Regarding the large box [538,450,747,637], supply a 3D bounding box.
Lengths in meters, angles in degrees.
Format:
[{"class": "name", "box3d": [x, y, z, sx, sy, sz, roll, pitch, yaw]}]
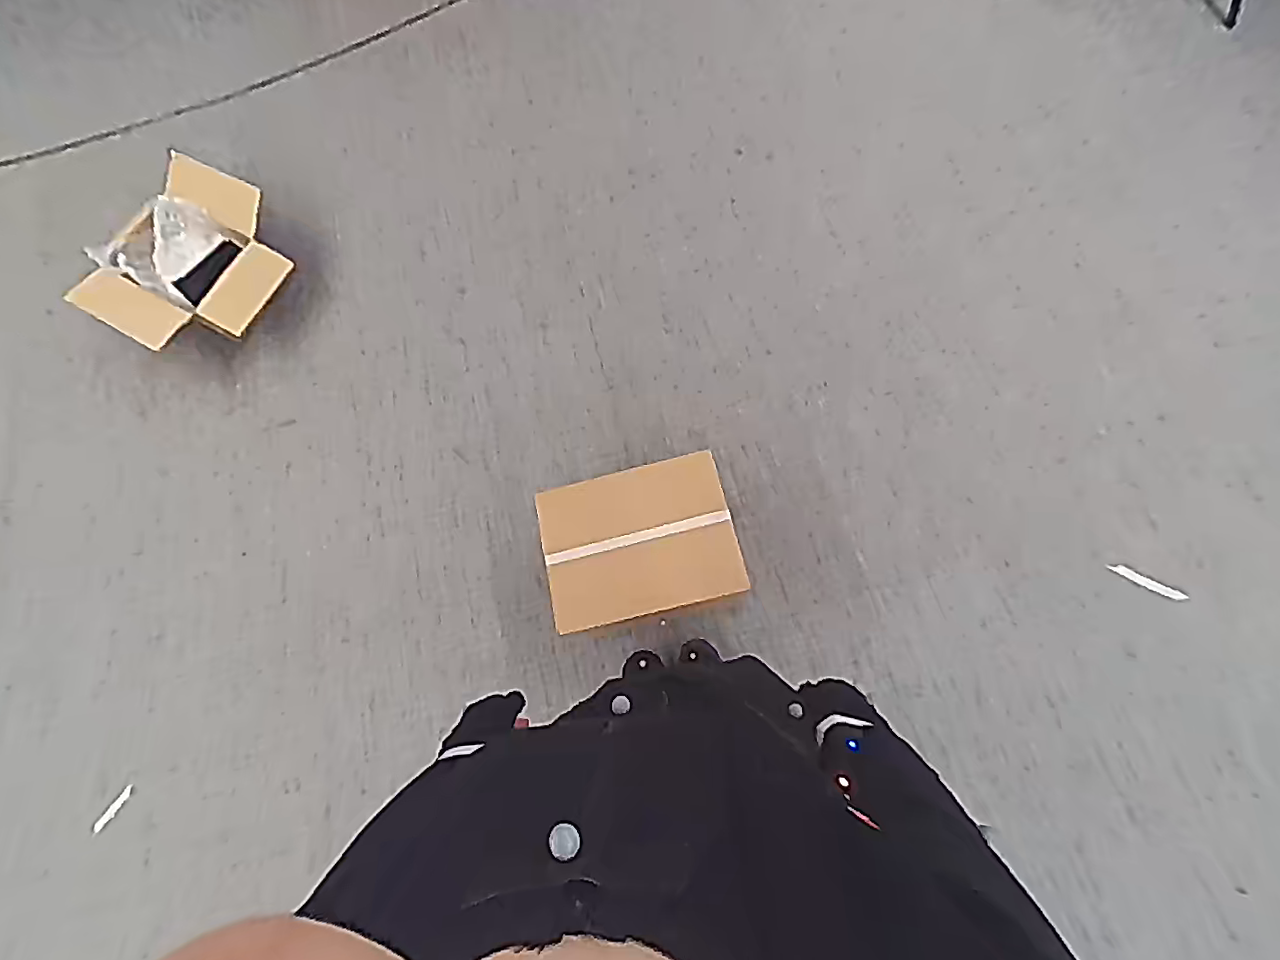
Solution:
[{"class": "large box", "box3d": [0.012, 0.169, 1.290, 0.408, 0.320, 0.320, -14, 72, 3]}]
